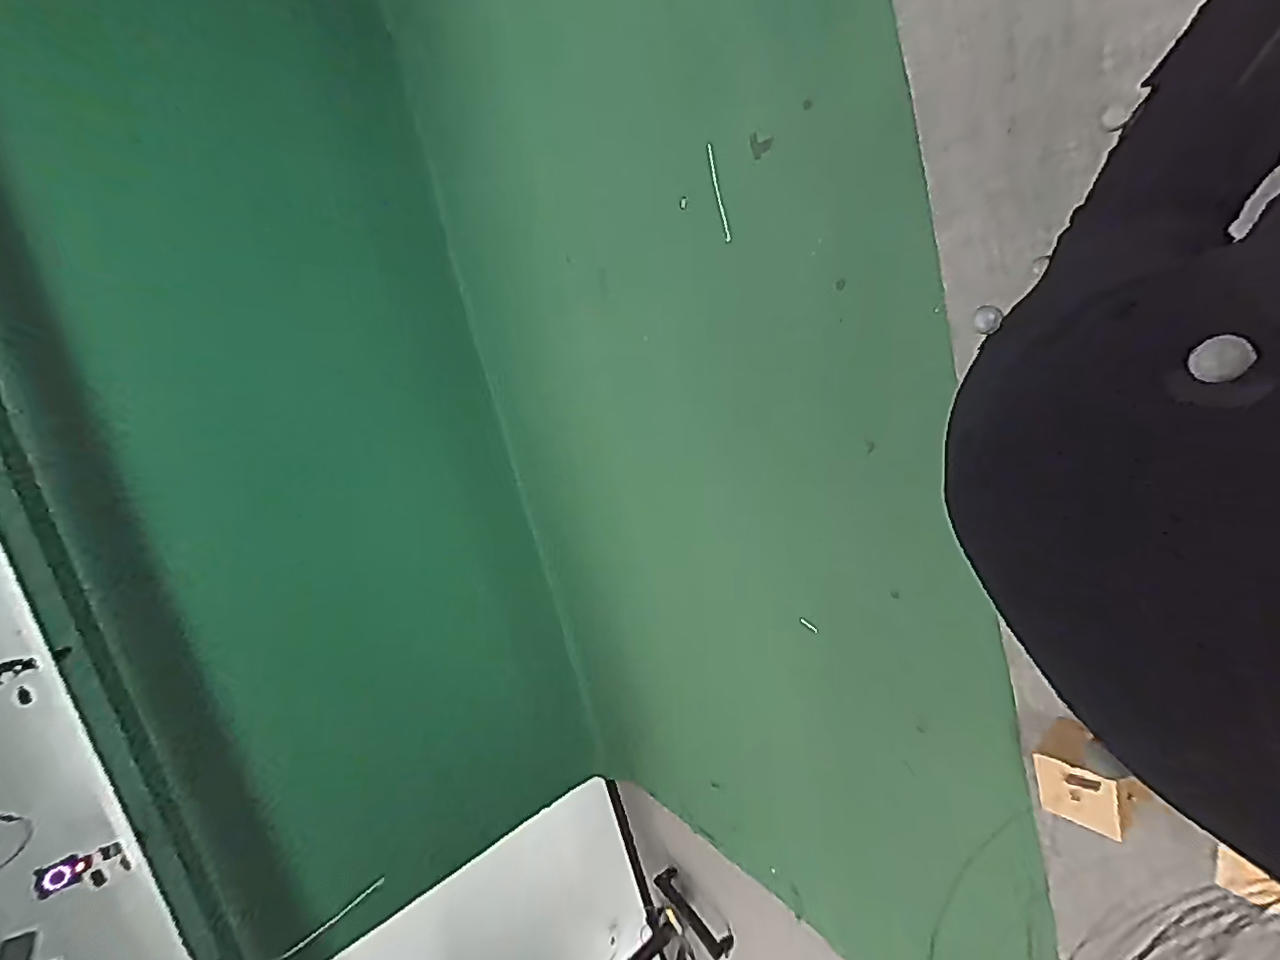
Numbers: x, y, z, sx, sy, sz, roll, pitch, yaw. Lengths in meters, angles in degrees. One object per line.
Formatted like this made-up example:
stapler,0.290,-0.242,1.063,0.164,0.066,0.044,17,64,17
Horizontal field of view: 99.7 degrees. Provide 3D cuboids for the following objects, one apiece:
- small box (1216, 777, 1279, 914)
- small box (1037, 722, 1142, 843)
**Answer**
small box,1.321,0.763,1.107,0.168,0.176,0.179,8,113,54
small box,1.137,0.752,1.367,0.168,0.176,0.179,0,108,55
